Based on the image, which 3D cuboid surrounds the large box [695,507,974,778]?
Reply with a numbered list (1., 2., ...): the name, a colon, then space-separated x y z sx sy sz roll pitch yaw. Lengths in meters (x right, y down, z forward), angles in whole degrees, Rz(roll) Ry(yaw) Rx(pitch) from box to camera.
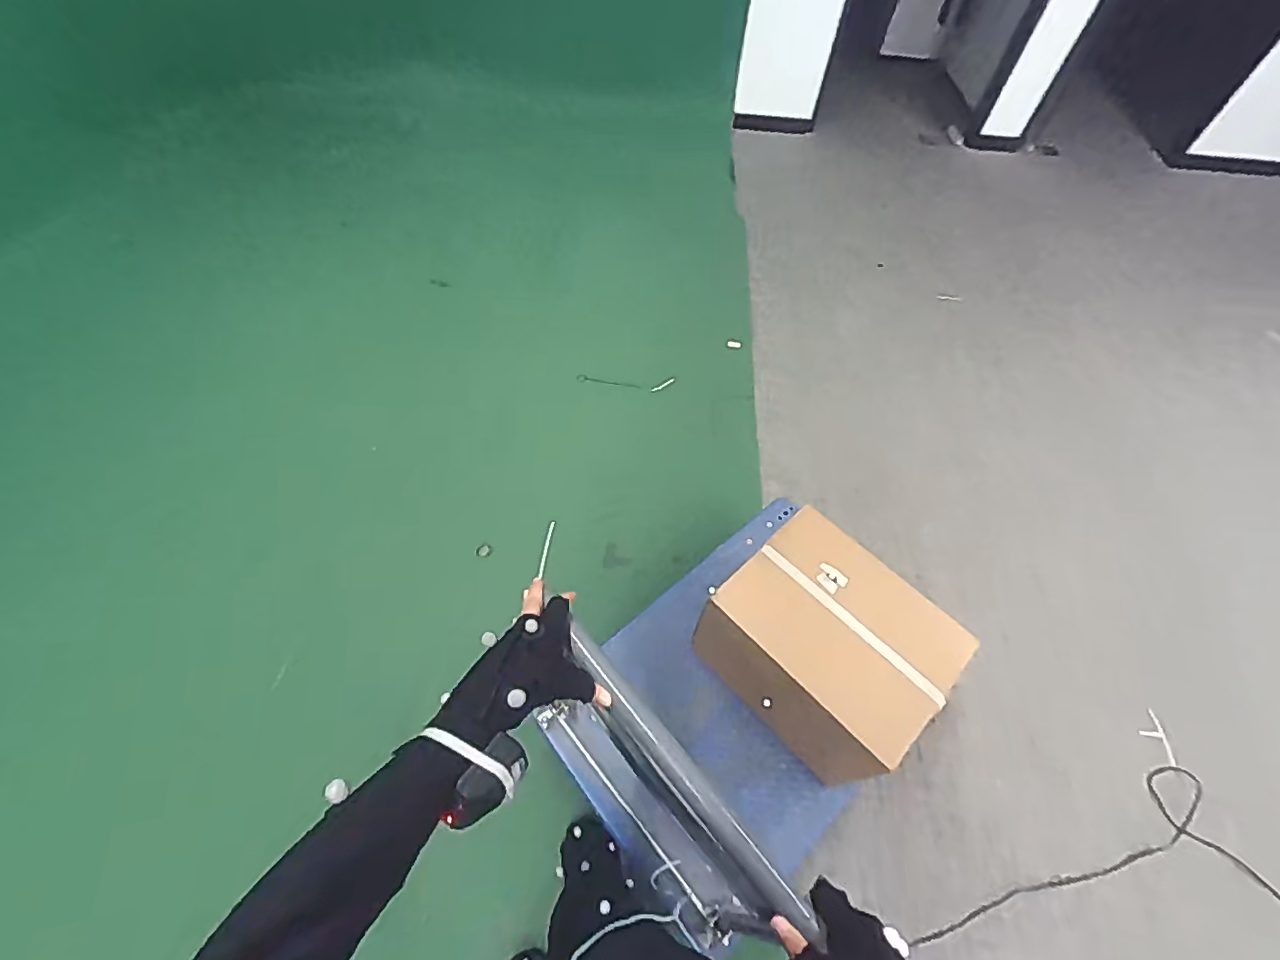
1. large box: 0.376 0.343 1.140 0.320 0.320 0.408 -37 65 -25
